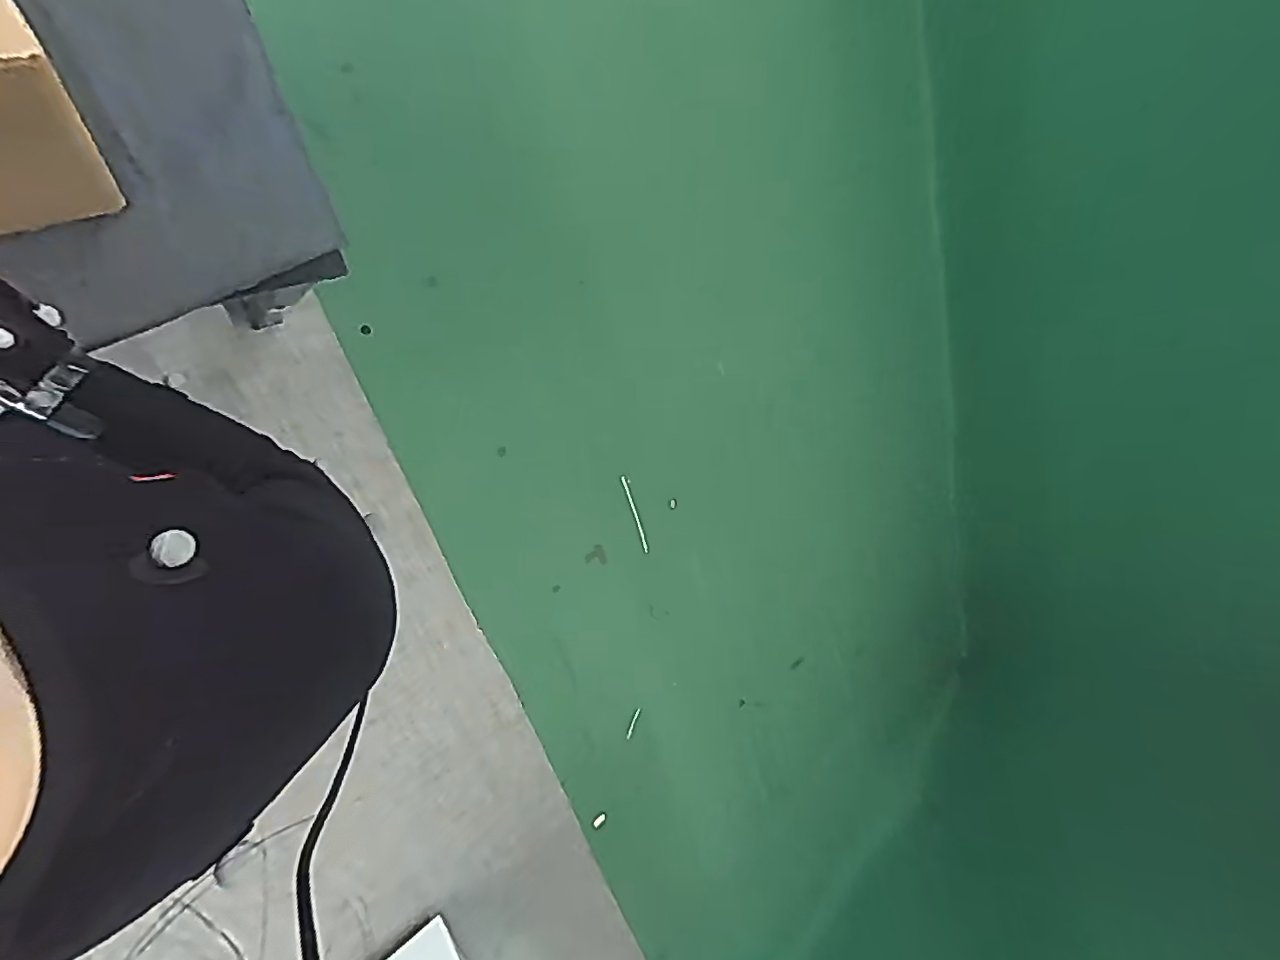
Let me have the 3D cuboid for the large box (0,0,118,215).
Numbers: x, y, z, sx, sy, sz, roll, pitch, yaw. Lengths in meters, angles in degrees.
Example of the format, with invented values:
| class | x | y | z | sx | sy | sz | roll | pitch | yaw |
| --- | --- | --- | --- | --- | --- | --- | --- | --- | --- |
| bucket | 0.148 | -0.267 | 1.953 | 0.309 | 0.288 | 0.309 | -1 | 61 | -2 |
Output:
| class | x | y | z | sx | sy | sz | roll | pitch | yaw |
| --- | --- | --- | --- | --- | --- | --- | --- | --- | --- |
| large box | -0.613 | -0.368 | 0.283 | 0.320 | 0.320 | 0.408 | -34 | 115 | -29 |
